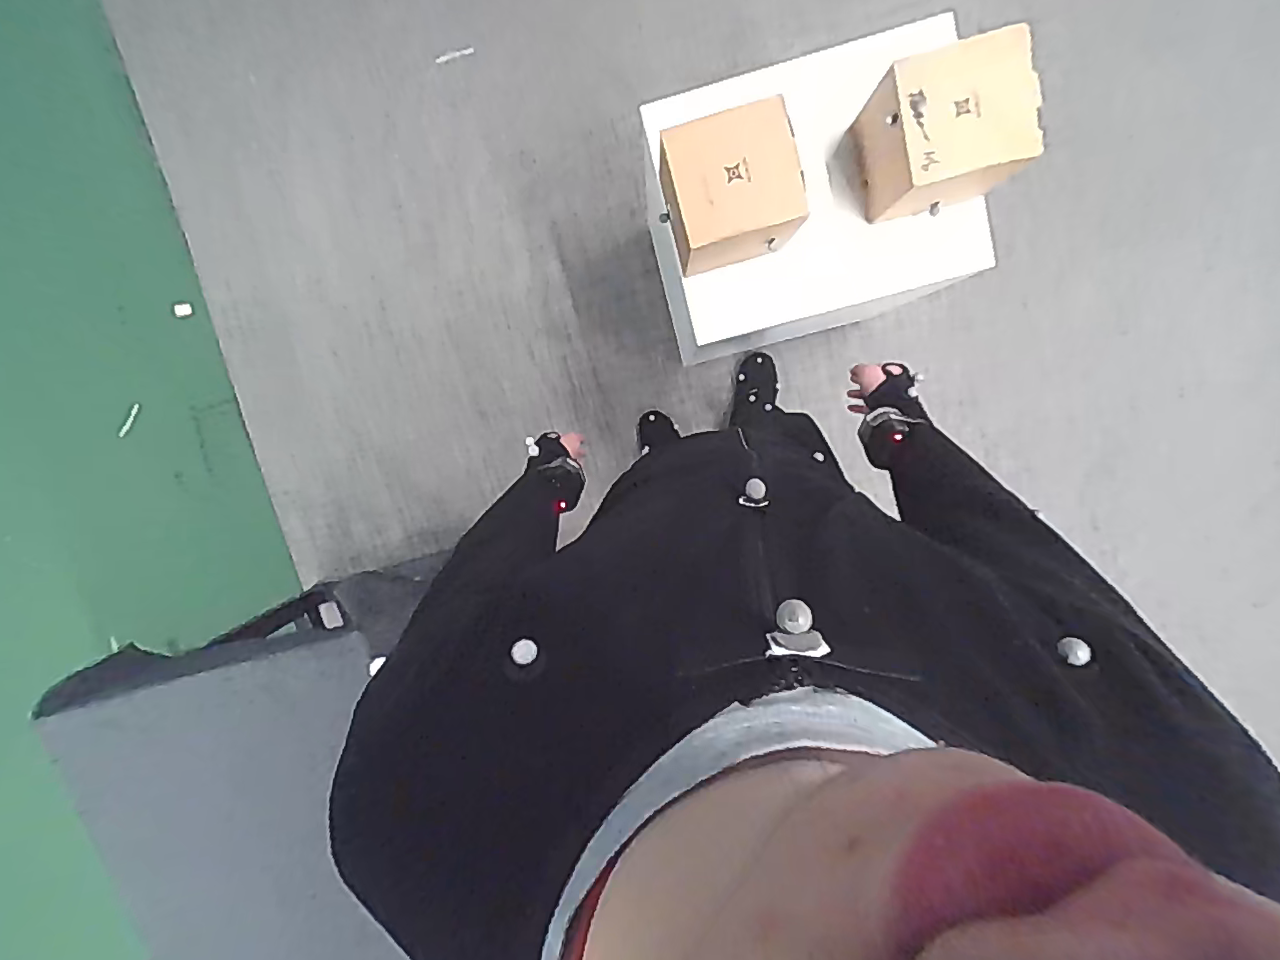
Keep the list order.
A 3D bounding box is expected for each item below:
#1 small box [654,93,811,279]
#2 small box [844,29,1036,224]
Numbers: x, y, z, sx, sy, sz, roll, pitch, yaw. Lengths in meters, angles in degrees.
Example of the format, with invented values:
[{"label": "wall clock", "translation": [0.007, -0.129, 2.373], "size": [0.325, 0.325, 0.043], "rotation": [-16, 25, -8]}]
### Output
[{"label": "small box", "translation": [0.126, -0.420, 0.803], "size": [0.179, 0.176, 0.168], "rotation": [-17, 96, 2]}, {"label": "small box", "translation": [0.428, -0.502, 0.794], "size": [0.179, 0.176, 0.168], "rotation": [-14, 97, 1]}]
